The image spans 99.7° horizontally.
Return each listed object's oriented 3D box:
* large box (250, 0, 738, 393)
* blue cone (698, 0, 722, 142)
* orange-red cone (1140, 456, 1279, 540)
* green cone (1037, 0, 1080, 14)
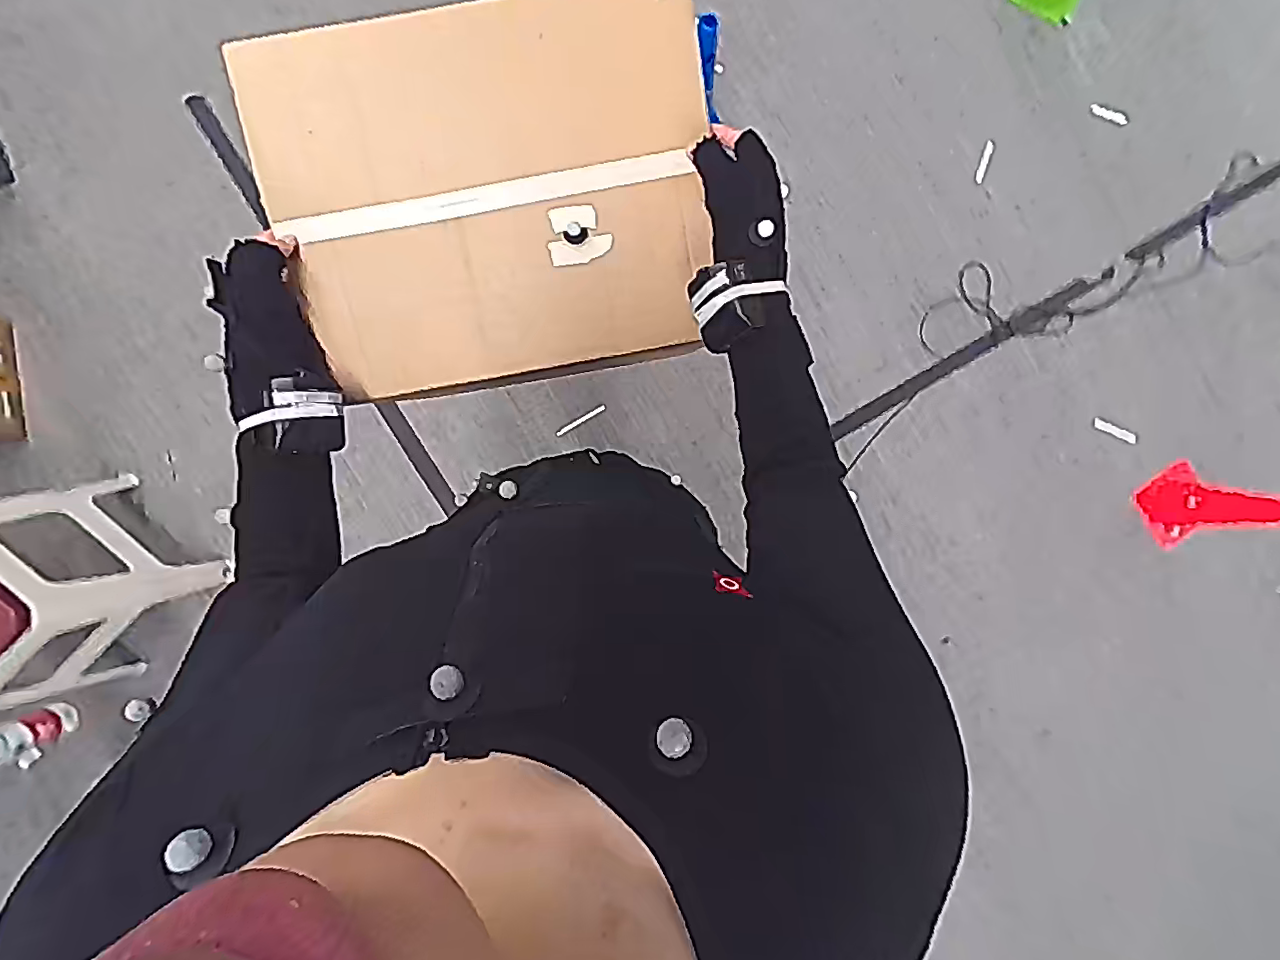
[{"bbox_3d":[-0.130,-0.289,0.643,0.408,0.320,0.320,-9,101,-1],"label":"large box"},{"bbox_3d":[0.122,-0.971,1.303,0.193,0.380,0.192,-28,92,-2],"label":"blue cone"},{"bbox_3d":[1.583,0.057,1.403,0.199,0.360,0.198,-34,94,-3],"label":"orange-red cone"},{"bbox_3d":[1.160,-1.420,1.333,0.202,0.368,0.200,21,90,-2],"label":"green cone"}]
